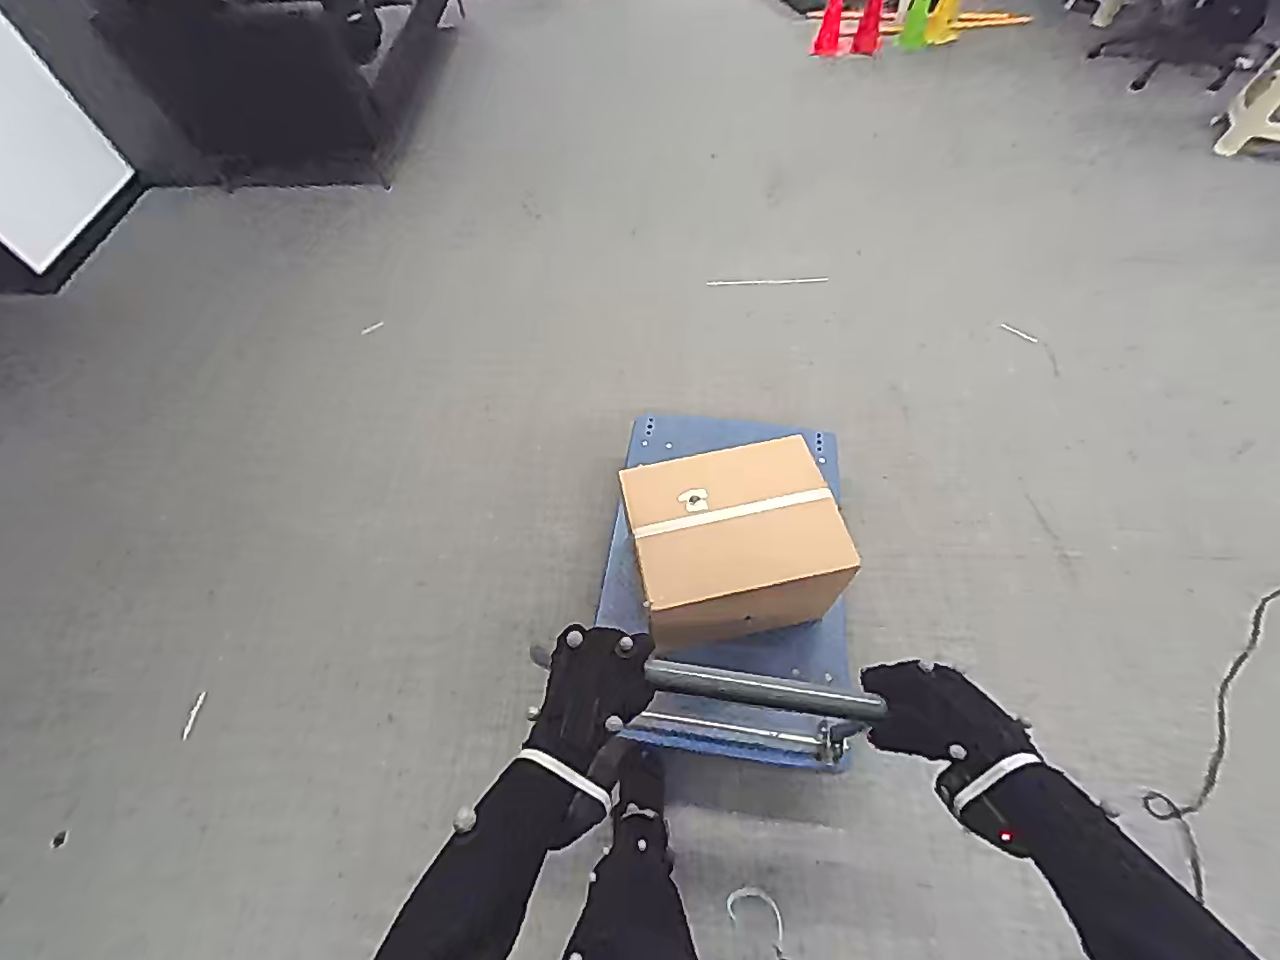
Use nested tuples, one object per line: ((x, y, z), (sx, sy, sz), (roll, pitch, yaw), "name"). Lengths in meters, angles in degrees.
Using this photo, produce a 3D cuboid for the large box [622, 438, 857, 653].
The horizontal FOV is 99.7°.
((0.197, 0.155, 1.206), (0.408, 0.320, 0.320), (-13, 56, -4), "large box")
